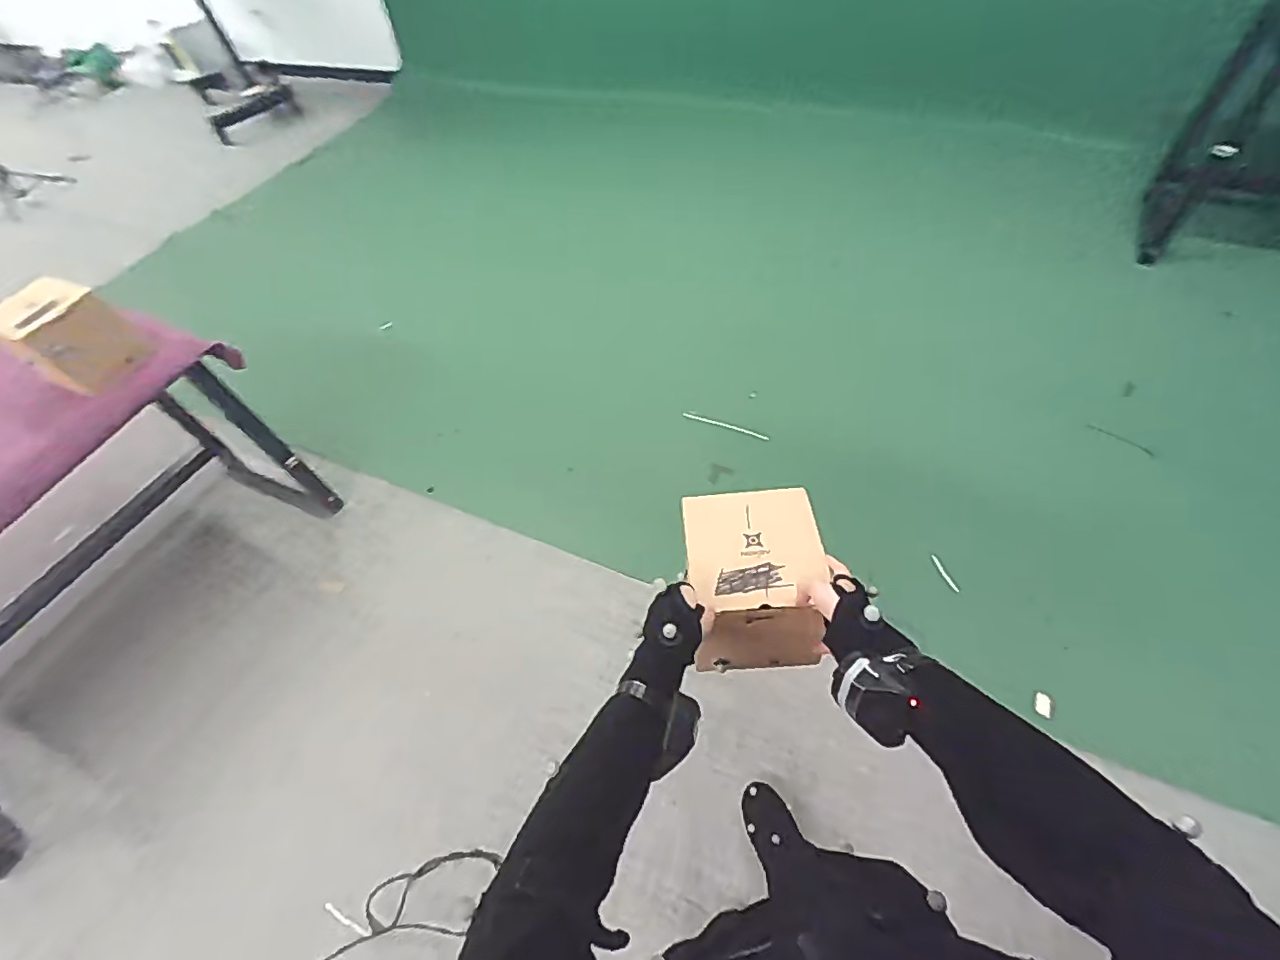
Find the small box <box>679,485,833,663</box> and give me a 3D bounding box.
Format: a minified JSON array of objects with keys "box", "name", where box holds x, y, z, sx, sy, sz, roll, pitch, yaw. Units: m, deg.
[{"box":[0.143,0.130,0.717,0.168,0.176,0.179,-5,48,3],"name":"small box"}]
